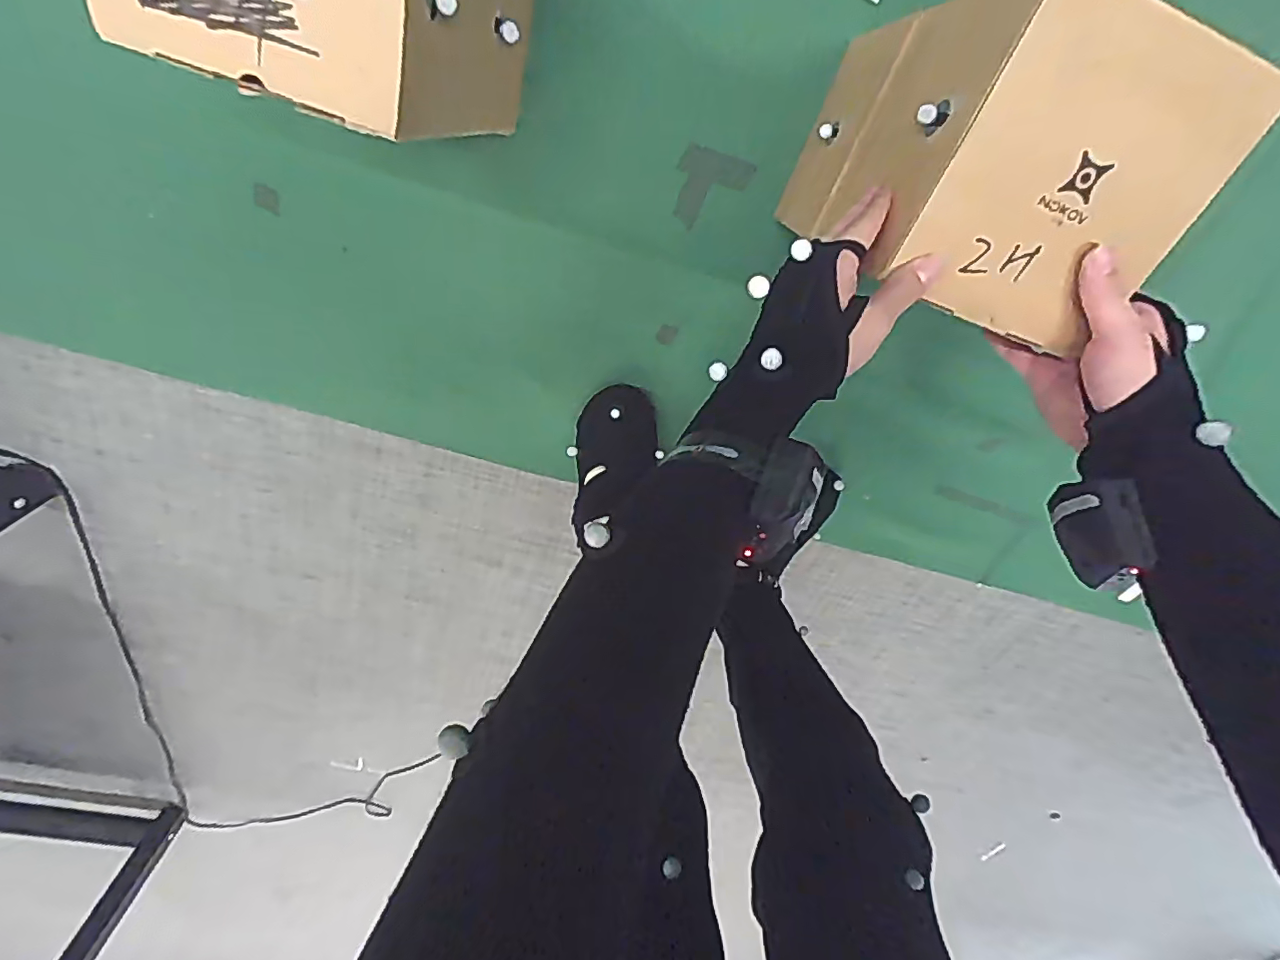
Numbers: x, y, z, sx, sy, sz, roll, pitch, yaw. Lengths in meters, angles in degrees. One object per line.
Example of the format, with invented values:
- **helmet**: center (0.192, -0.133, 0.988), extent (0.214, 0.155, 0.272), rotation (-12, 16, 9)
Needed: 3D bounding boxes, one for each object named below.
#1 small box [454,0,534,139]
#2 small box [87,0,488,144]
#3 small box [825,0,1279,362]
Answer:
- **small box**: center (-0.191, -0.423, 0.466), extent (0.168, 0.176, 0.179), rotation (15, 123, -9)
- **small box**: center (-0.192, -0.332, 0.329), extent (0.168, 0.176, 0.179), rotation (15, 122, -10)
- **small box**: center (0.263, -0.218, 0.397), extent (0.168, 0.176, 0.179), rotation (17, 121, -11)
